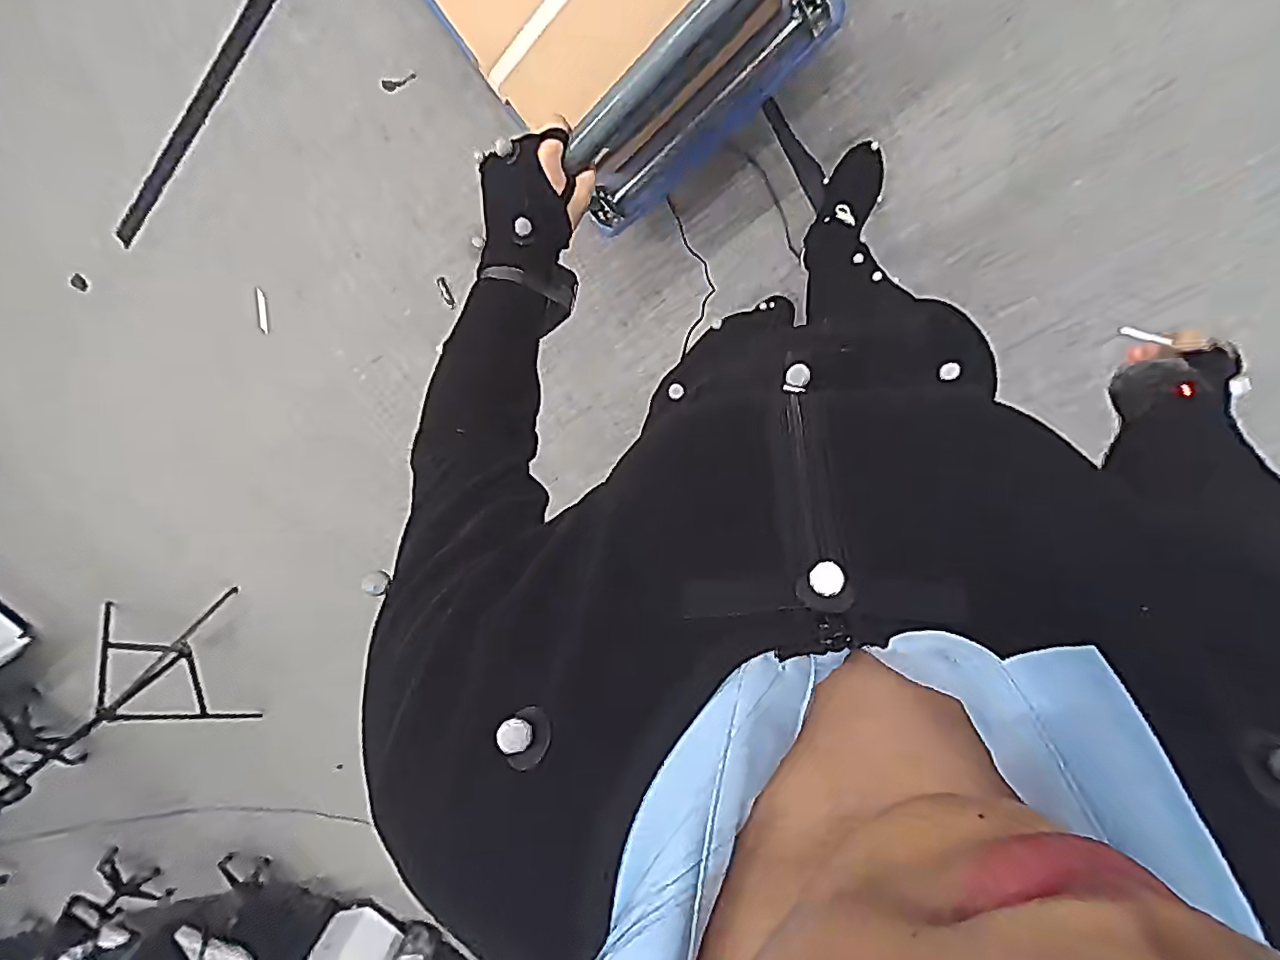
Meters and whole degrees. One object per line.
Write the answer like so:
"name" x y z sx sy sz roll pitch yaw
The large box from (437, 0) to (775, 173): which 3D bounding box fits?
"large box" -0.036 -0.771 0.861 0.408 0.320 0.320 -33 107 26
